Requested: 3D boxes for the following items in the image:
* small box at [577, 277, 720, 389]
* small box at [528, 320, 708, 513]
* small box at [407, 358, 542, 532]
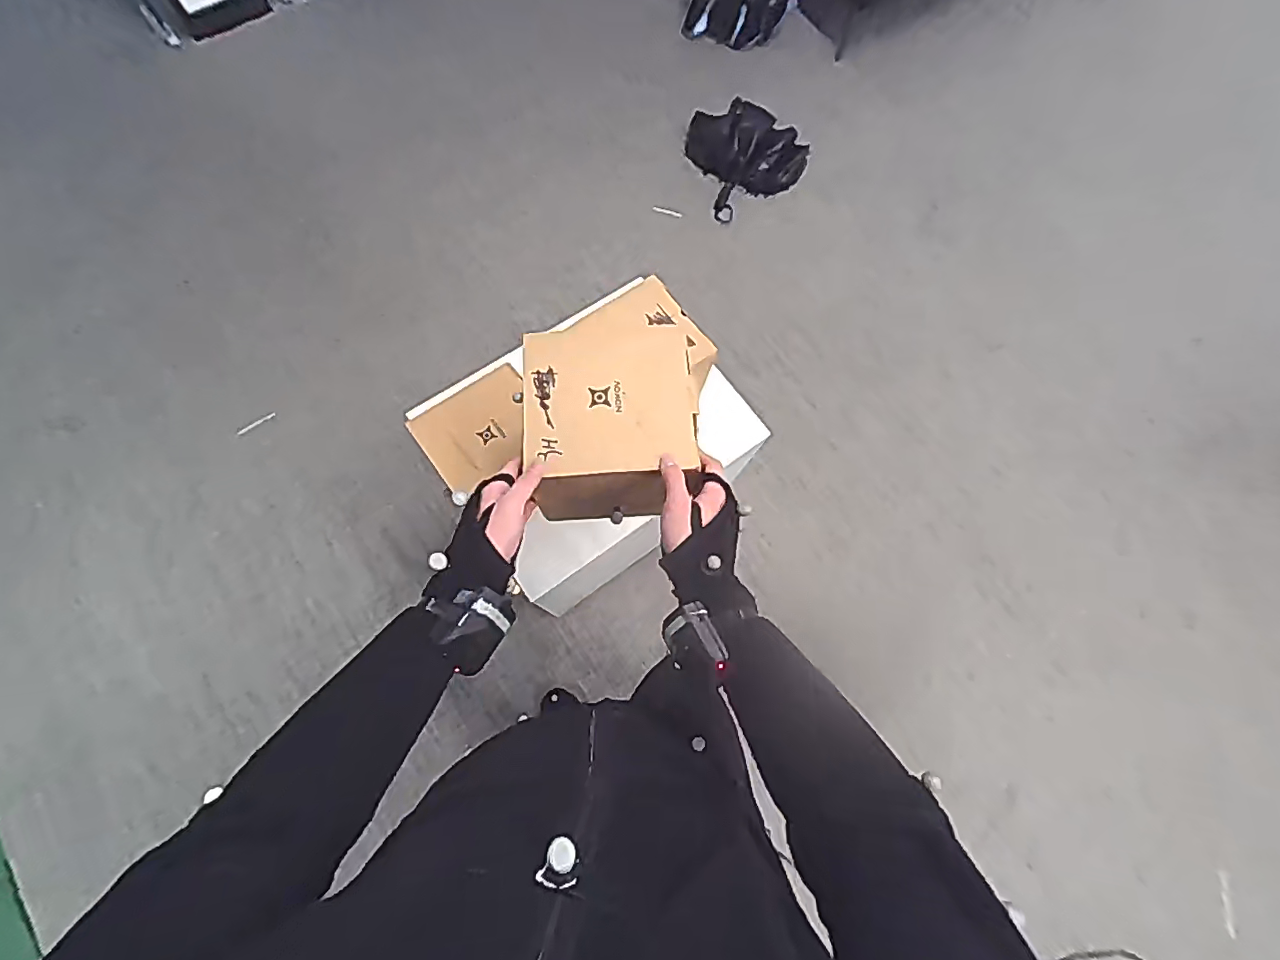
[{"bbox_3d":[0.001,-0.188,0.889,0.179,0.176,0.168,-33,79,-13],"label":"small box"},{"bbox_3d":[-0.030,-0.064,0.618,0.179,0.176,0.168,-2,70,-5],"label":"small box"},{"bbox_3d":[-0.214,-0.046,0.824,0.179,0.176,0.168,-35,78,-15],"label":"small box"}]
